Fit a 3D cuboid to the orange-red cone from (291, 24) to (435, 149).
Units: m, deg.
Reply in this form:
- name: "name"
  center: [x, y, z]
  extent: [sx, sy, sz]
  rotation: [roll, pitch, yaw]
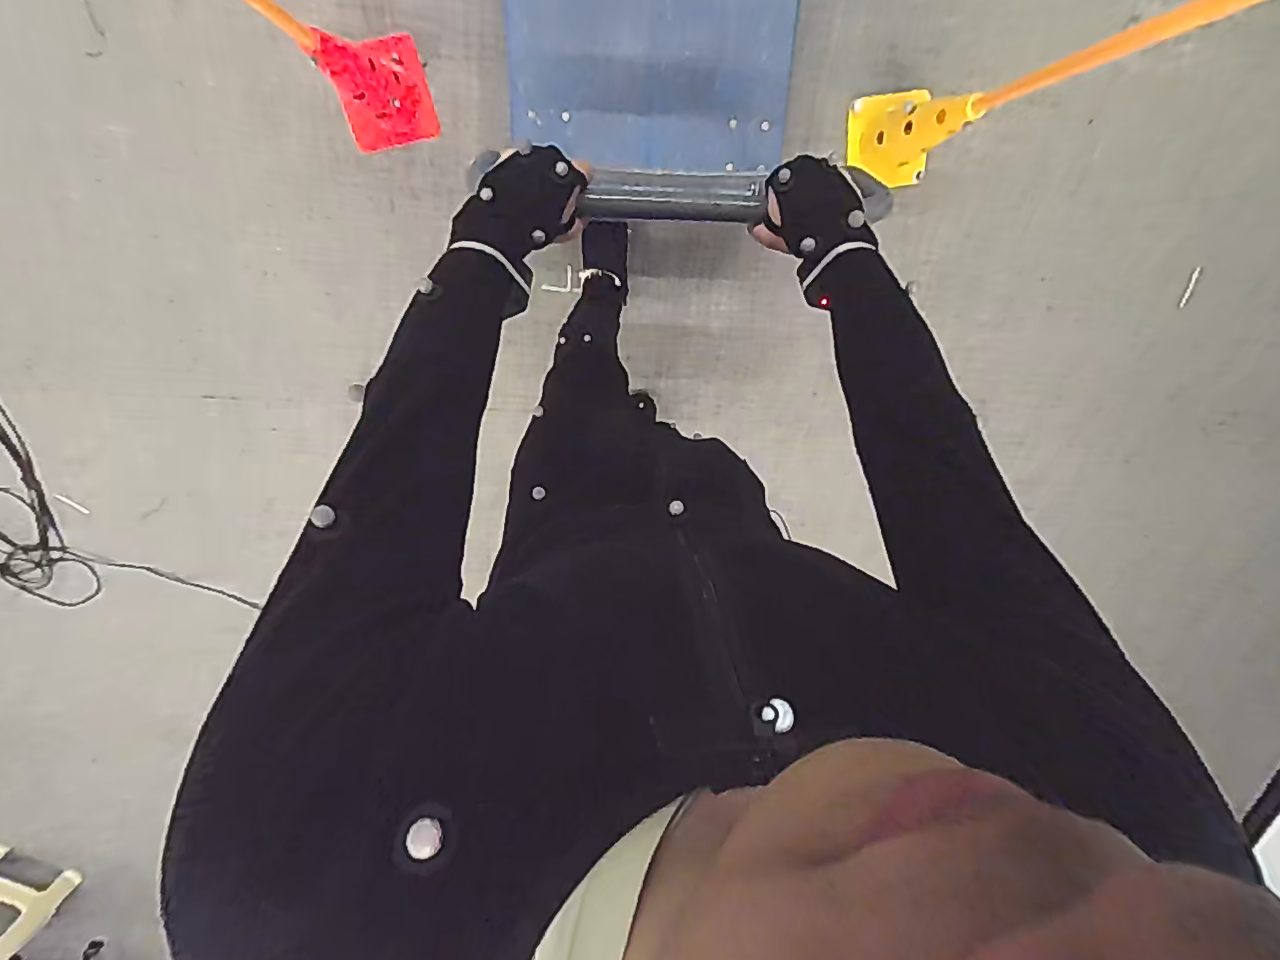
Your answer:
- name: "orange-red cone"
  center: [-0.570, -0.801, 1.058]
  extent: [0.199, 0.360, 0.198]
  rotation: [-11, 113, 2]
